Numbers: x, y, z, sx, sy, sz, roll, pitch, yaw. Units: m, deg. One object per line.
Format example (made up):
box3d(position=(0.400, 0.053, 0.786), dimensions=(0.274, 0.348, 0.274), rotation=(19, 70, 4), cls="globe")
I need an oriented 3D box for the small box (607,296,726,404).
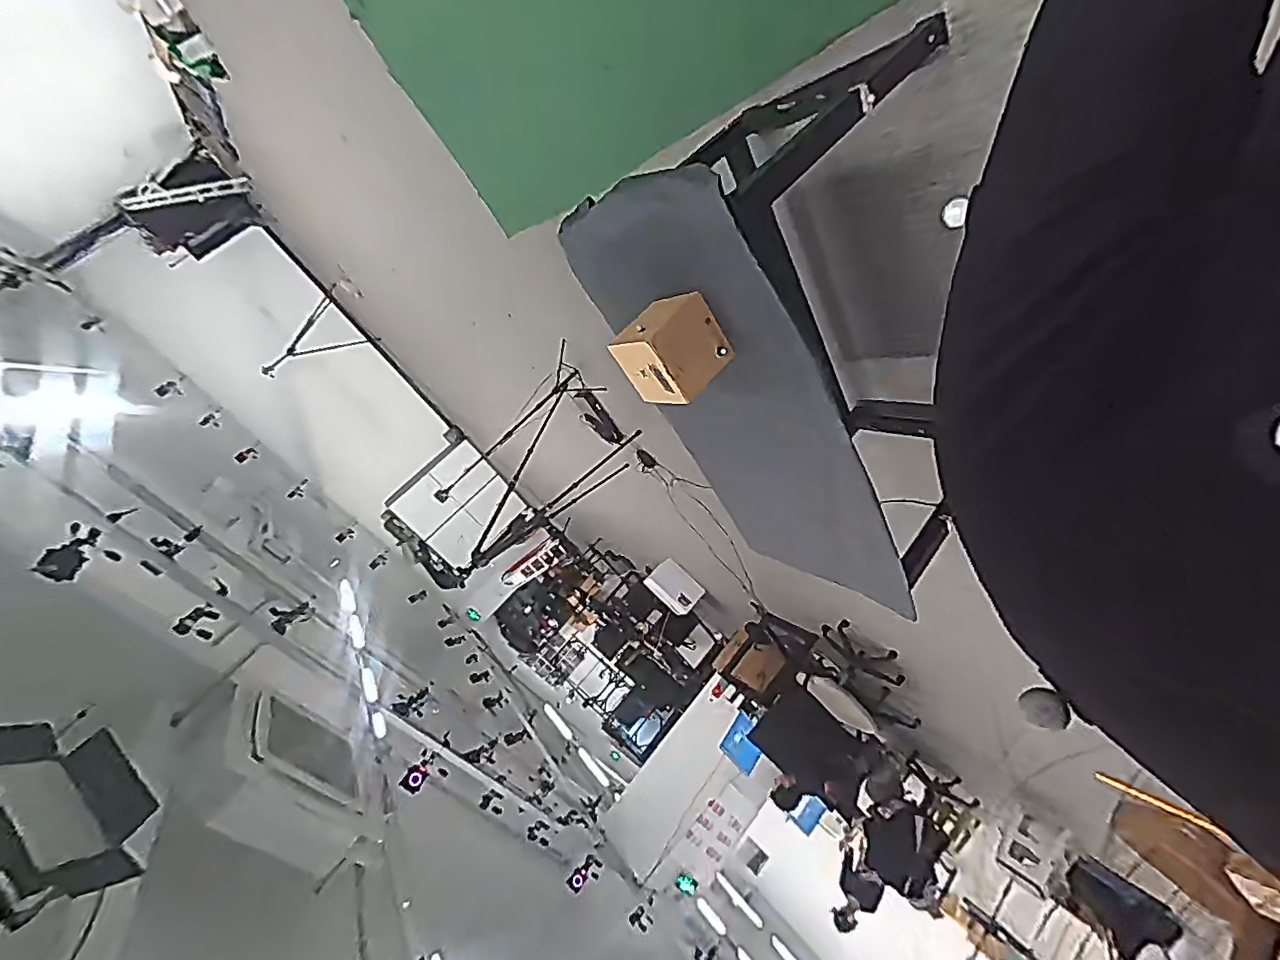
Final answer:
box3d(position=(0.066, -0.287, 1.197), dimensions=(0.168, 0.176, 0.179), rotation=(52, 162, -28), cls="small box")
